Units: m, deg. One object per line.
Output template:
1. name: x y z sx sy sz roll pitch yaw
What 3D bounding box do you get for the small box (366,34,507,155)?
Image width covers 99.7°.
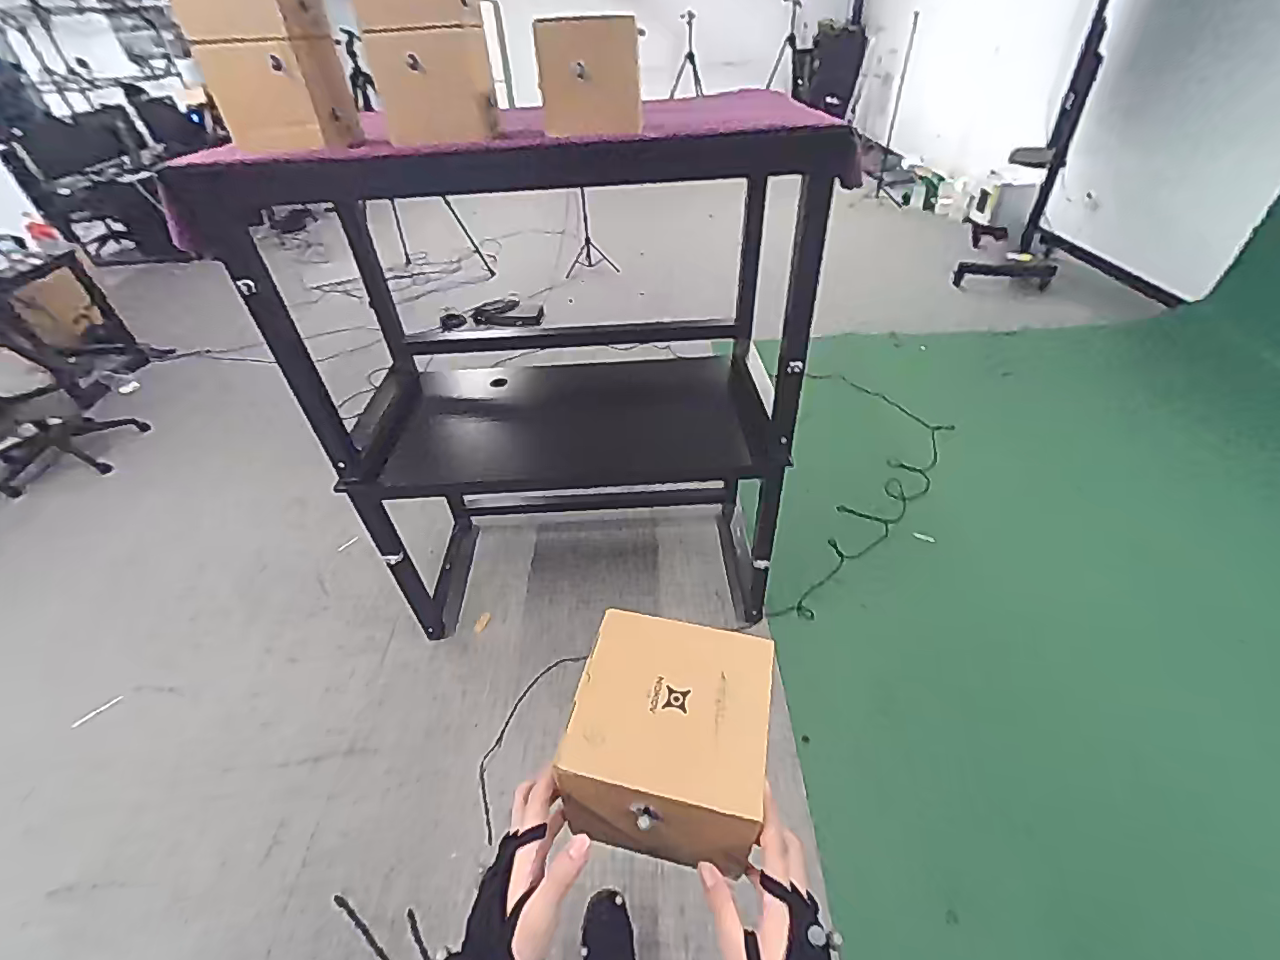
1. small box: -0.367 -0.719 1.012 0.179 0.176 0.168 -2 40 3

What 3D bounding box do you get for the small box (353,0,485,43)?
1. small box: -0.377 -0.844 0.906 0.179 0.176 0.168 -3 39 4

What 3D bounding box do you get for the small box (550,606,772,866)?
1. small box: 0.030 0.256 0.547 0.179 0.176 0.168 8 42 12

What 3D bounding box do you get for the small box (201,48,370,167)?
1. small box: -0.648 -0.697 1.015 0.179 0.176 0.168 -2 40 2

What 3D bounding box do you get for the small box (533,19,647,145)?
1. small box: -0.083 -0.735 1.003 0.179 0.176 0.168 -2 40 4
